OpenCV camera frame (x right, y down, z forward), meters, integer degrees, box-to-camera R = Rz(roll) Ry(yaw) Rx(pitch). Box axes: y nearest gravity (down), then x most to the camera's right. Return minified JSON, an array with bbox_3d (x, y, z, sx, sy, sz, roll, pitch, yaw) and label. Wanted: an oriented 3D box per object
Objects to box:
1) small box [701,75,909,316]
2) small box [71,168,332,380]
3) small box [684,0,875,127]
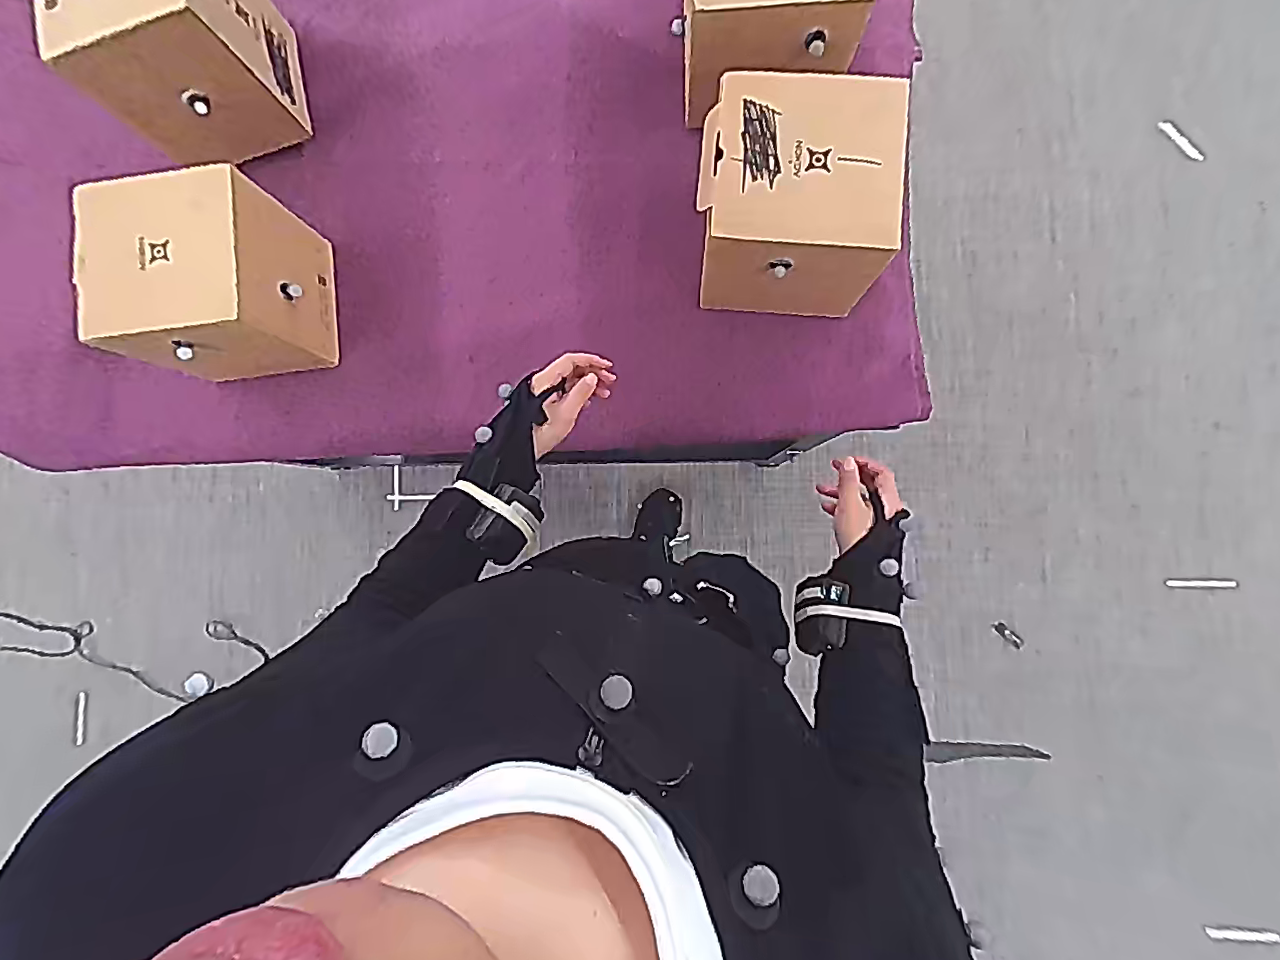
[{"bbox_3d":[0.160,-0.287,0.578,0.179,0.176,0.168,5,86,4],"label":"small box"},{"bbox_3d":[-0.481,-0.220,0.621,0.179,0.176,0.168,-6,86,4],"label":"small box"},{"bbox_3d":[0.138,-0.521,0.592,0.179,0.176,0.168,-1,88,4],"label":"small box"}]
